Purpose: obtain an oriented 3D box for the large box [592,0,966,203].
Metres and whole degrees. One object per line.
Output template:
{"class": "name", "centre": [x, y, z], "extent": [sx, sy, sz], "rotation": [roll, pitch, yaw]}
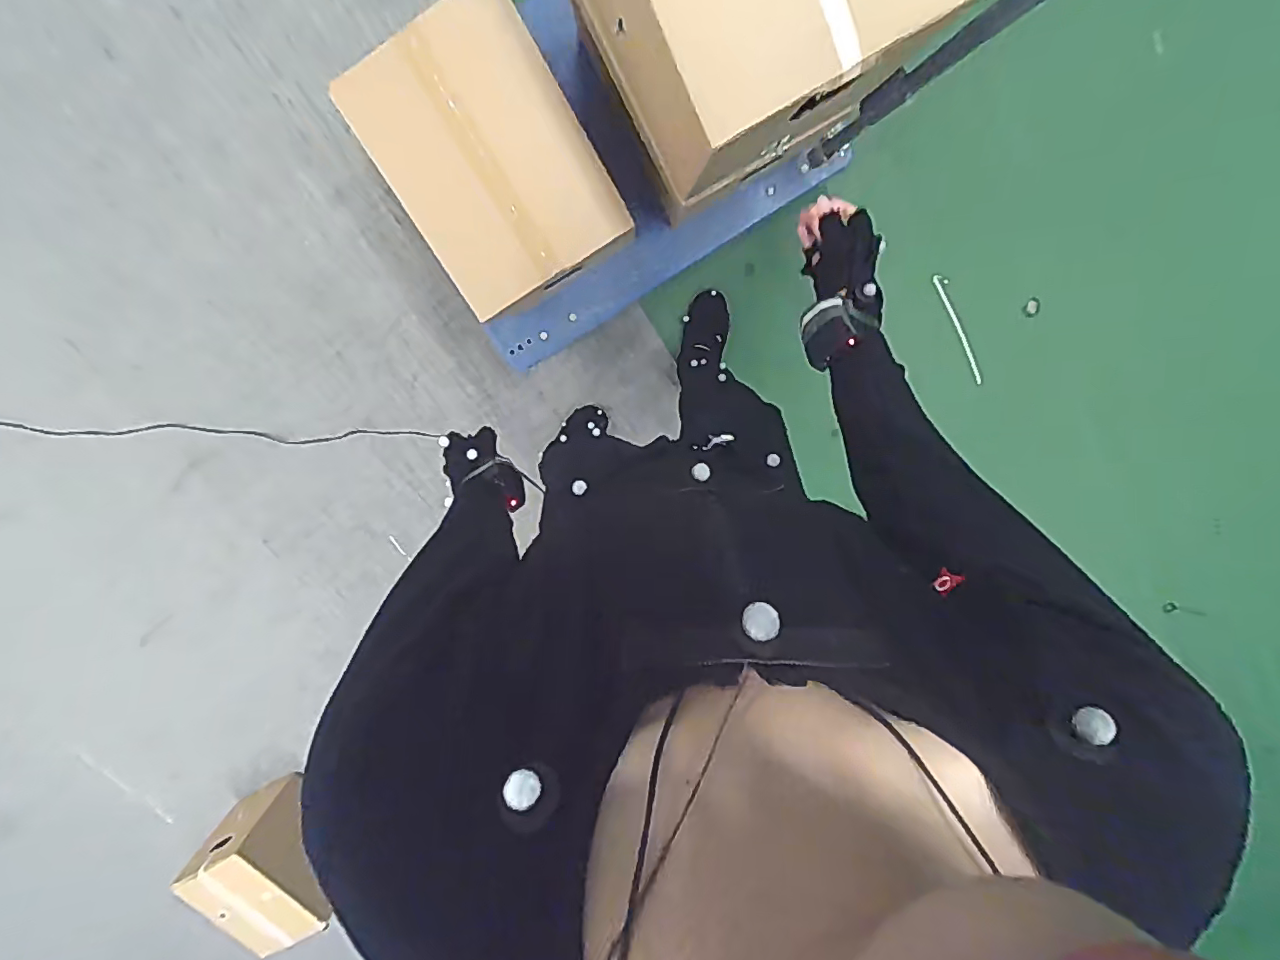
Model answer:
{"class": "large box", "centre": [0.112, -0.620, 0.633], "extent": [0.320, 0.320, 0.408], "rotation": [-27, 105, 7]}
